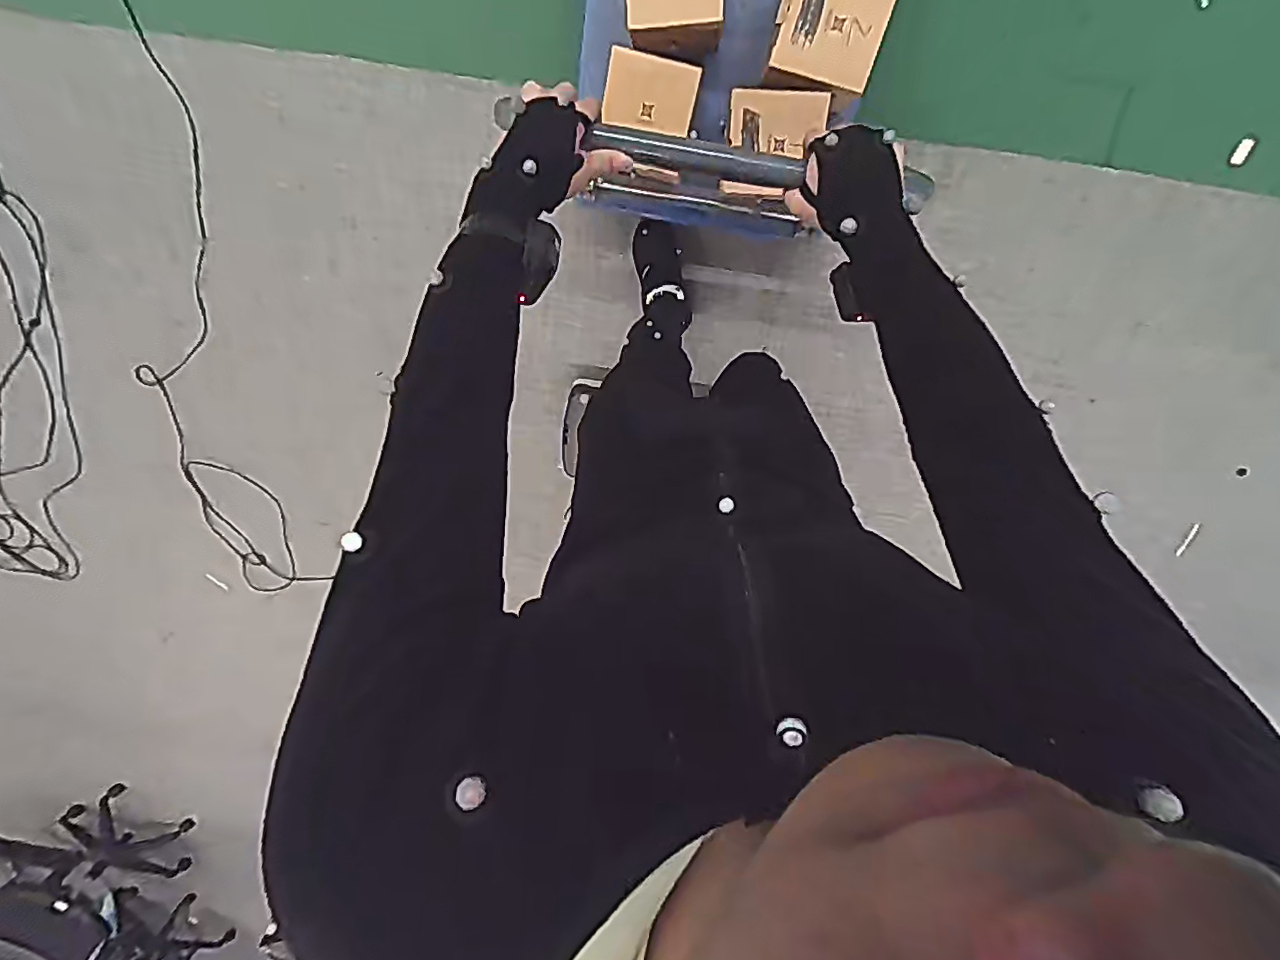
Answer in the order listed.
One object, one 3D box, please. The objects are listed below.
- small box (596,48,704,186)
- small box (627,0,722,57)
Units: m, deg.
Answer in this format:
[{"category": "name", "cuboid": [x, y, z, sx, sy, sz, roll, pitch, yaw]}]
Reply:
[{"category": "small box", "cuboid": [0.019, -0.696, 1.058, 0.168, 0.176, 0.179, 14, 115, -2]}, {"category": "small box", "cuboid": [0.064, -0.884, 0.967, 0.168, 0.176, 0.179, 0, 114, 5]}]
